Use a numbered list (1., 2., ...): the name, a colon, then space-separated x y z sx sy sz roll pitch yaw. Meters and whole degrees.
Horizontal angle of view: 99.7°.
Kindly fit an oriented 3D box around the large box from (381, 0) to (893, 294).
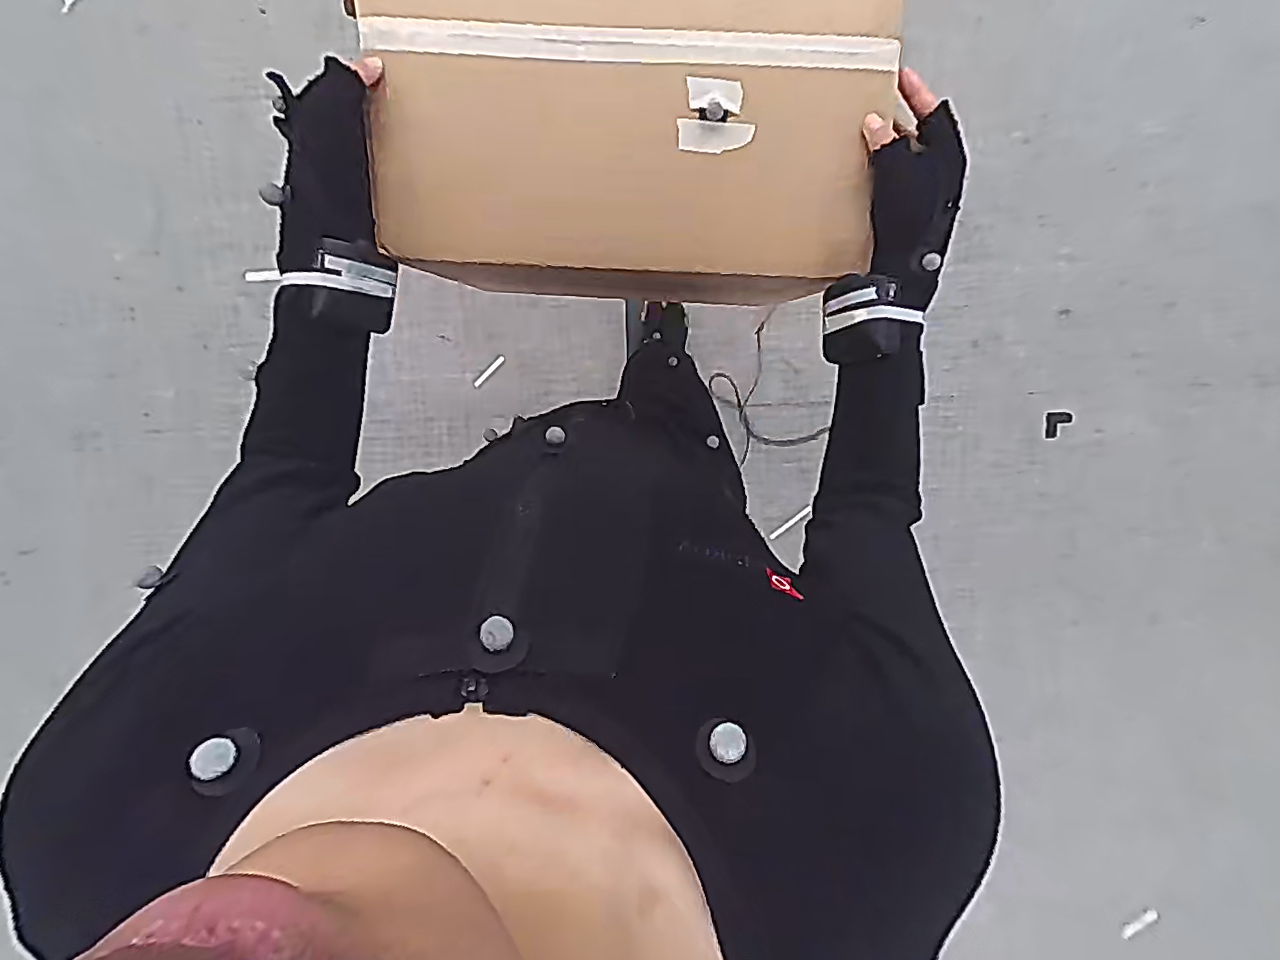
1. large box: -0.006 -0.375 0.569 0.408 0.320 0.320 2 105 -1
